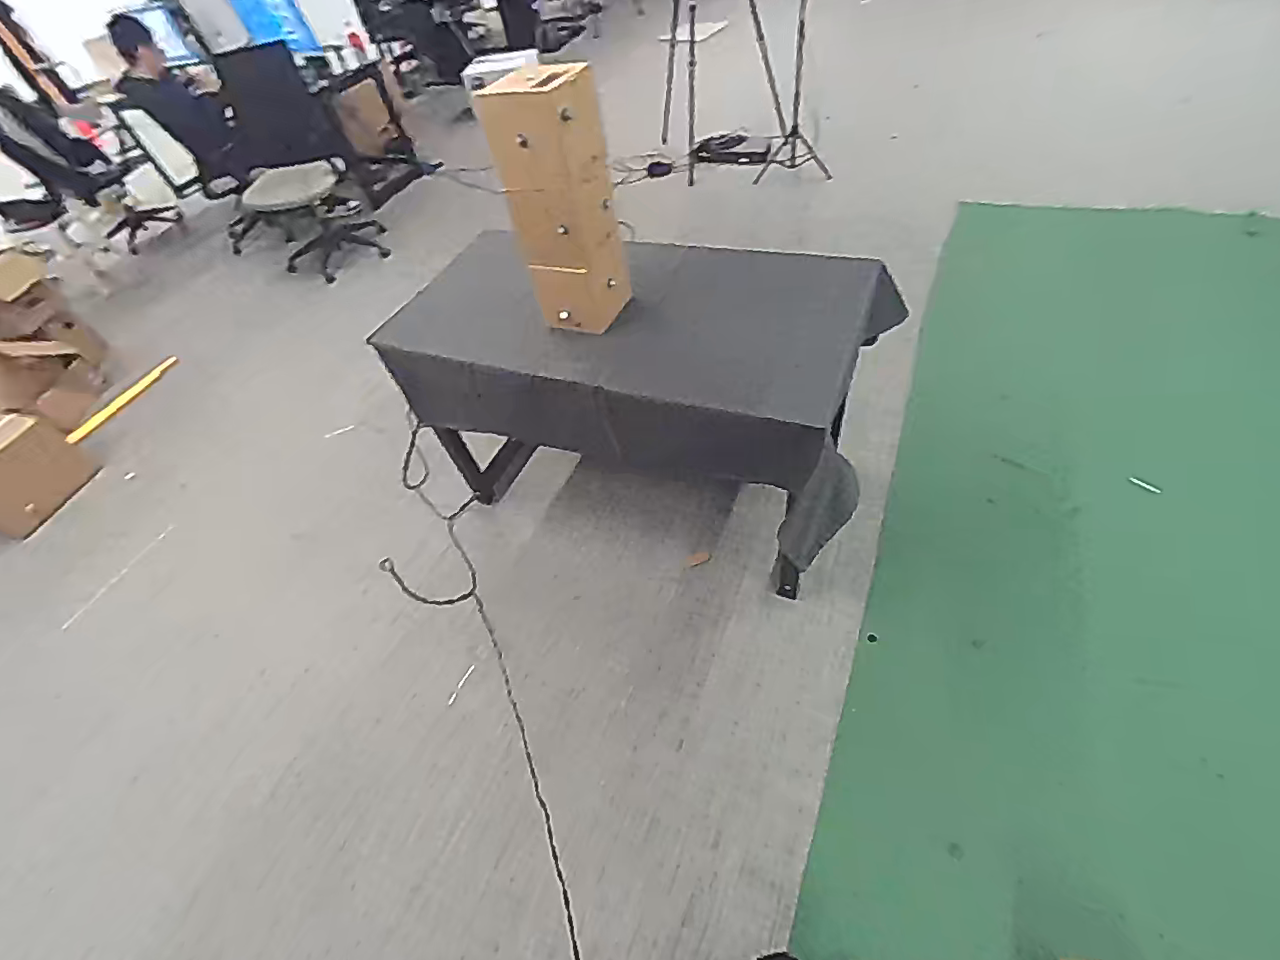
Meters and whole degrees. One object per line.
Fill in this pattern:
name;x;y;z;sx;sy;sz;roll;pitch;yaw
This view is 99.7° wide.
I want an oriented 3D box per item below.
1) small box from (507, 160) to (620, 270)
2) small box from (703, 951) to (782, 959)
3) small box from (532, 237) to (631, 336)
small box;-0.159;-0.589;1.207;0.179;0.176;0.168;13;53;21
small box;0.200;0.999;0.983;0.168;0.176;0.179;-15;23;17
small box;-0.133;-0.481;1.327;0.168;0.176;0.179;15;55;23
